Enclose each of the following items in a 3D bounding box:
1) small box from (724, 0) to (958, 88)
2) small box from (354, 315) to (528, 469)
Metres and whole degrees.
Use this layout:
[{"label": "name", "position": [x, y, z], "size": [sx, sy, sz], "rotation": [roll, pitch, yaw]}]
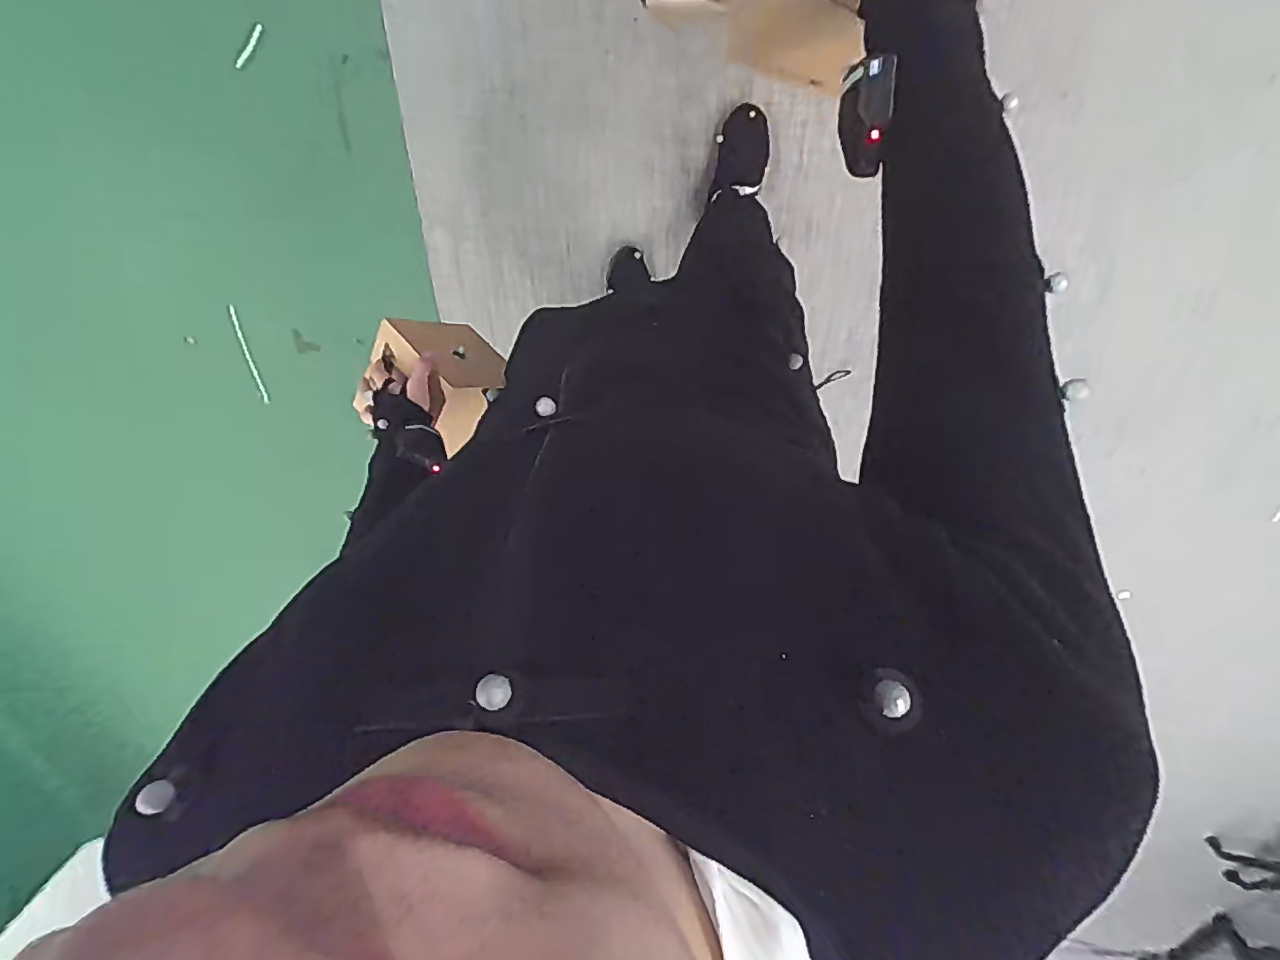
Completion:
[{"label": "small box", "position": [0.196, -0.513, 0.514], "size": [0.168, 0.176, 0.179], "rotation": [5, 109, -17]}, {"label": "small box", "position": [-0.319, -0.143, 0.876], "size": [0.179, 0.176, 0.168], "rotation": [42, 118, 16]}]
